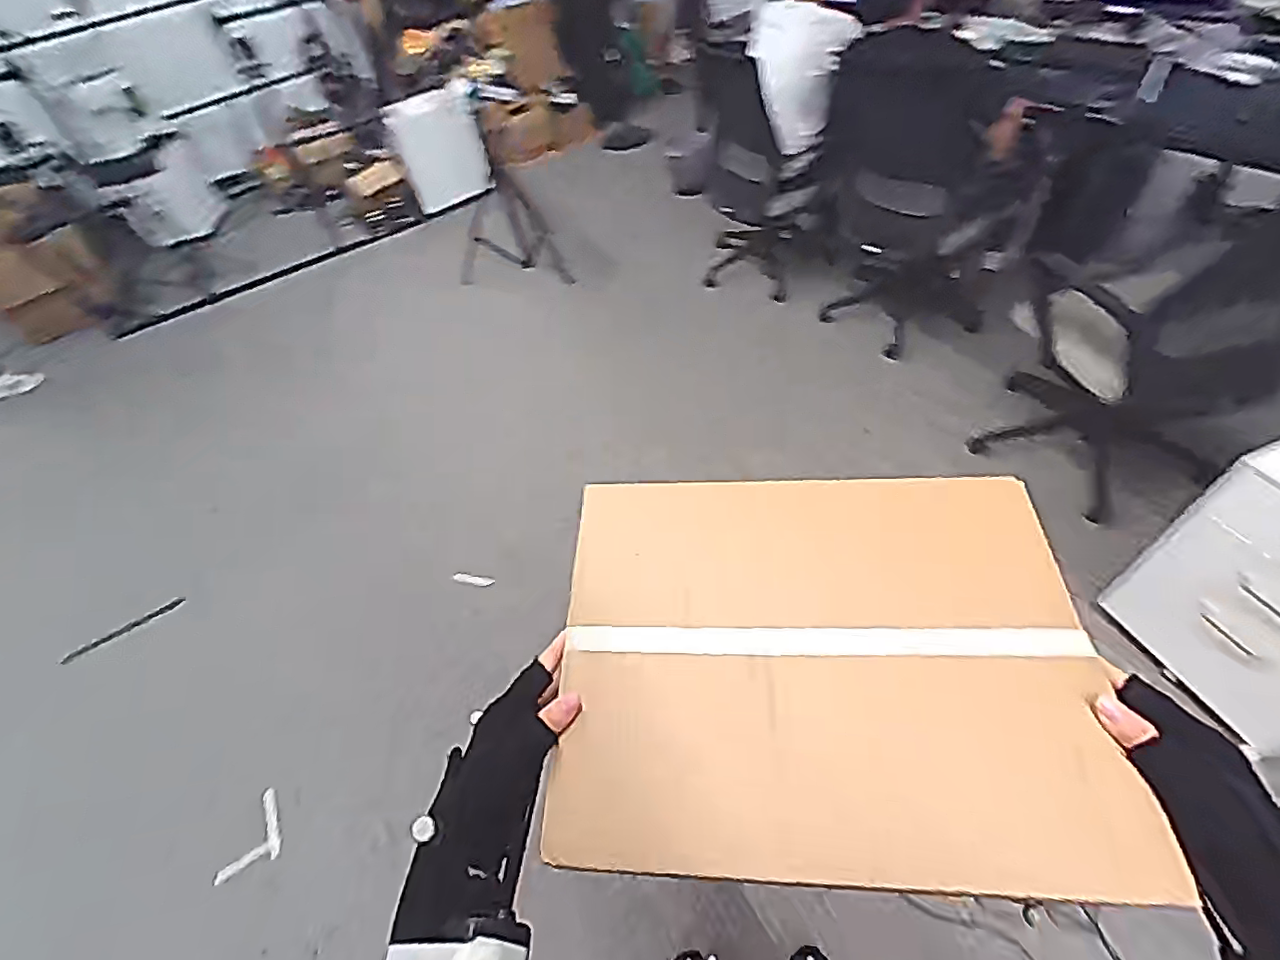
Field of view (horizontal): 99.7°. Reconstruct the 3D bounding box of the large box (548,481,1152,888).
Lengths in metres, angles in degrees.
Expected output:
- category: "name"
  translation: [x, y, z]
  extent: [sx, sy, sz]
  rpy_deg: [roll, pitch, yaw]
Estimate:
- category: "large box"
  translation: [0.152, 0.219, 0.566]
  extent: [0.408, 0.320, 0.320]
  rpy_deg: [-2, 55, 6]
